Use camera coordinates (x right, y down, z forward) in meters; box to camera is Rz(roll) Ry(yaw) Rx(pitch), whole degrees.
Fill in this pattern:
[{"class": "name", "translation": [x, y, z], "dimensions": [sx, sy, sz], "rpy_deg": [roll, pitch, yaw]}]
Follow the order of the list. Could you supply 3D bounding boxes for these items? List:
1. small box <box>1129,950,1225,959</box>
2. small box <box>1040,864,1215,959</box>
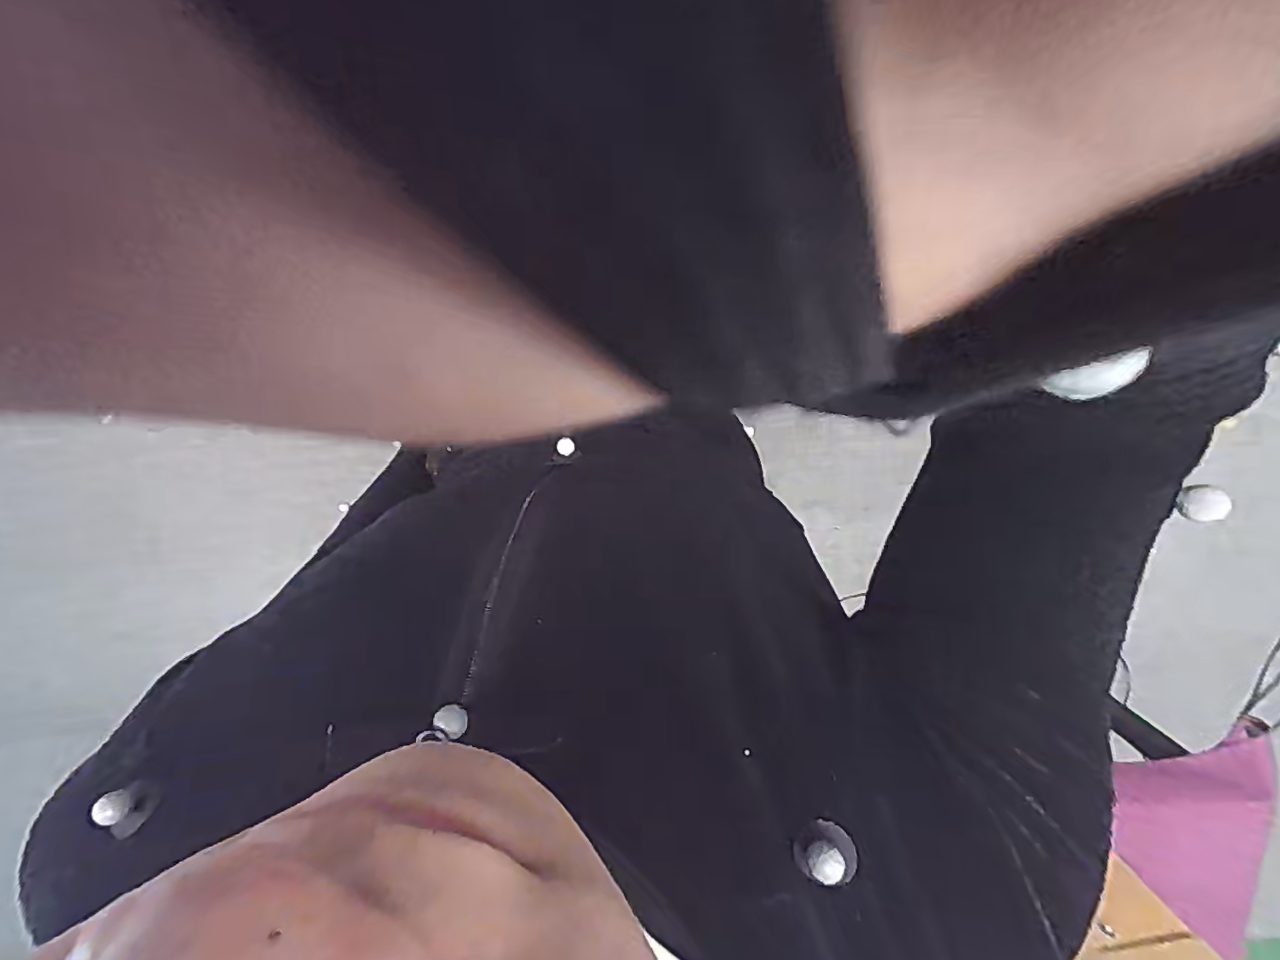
[{"class": "small box", "translation": [0.893, 0.886, 0.844], "dimensions": [0.179, 0.176, 0.168], "rpy_deg": [-11, 103, 2]}, {"class": "small box", "translation": [0.893, 0.856, 1.006], "dimensions": [0.179, 0.176, 0.168], "rpy_deg": [-10, 103, 2]}]
